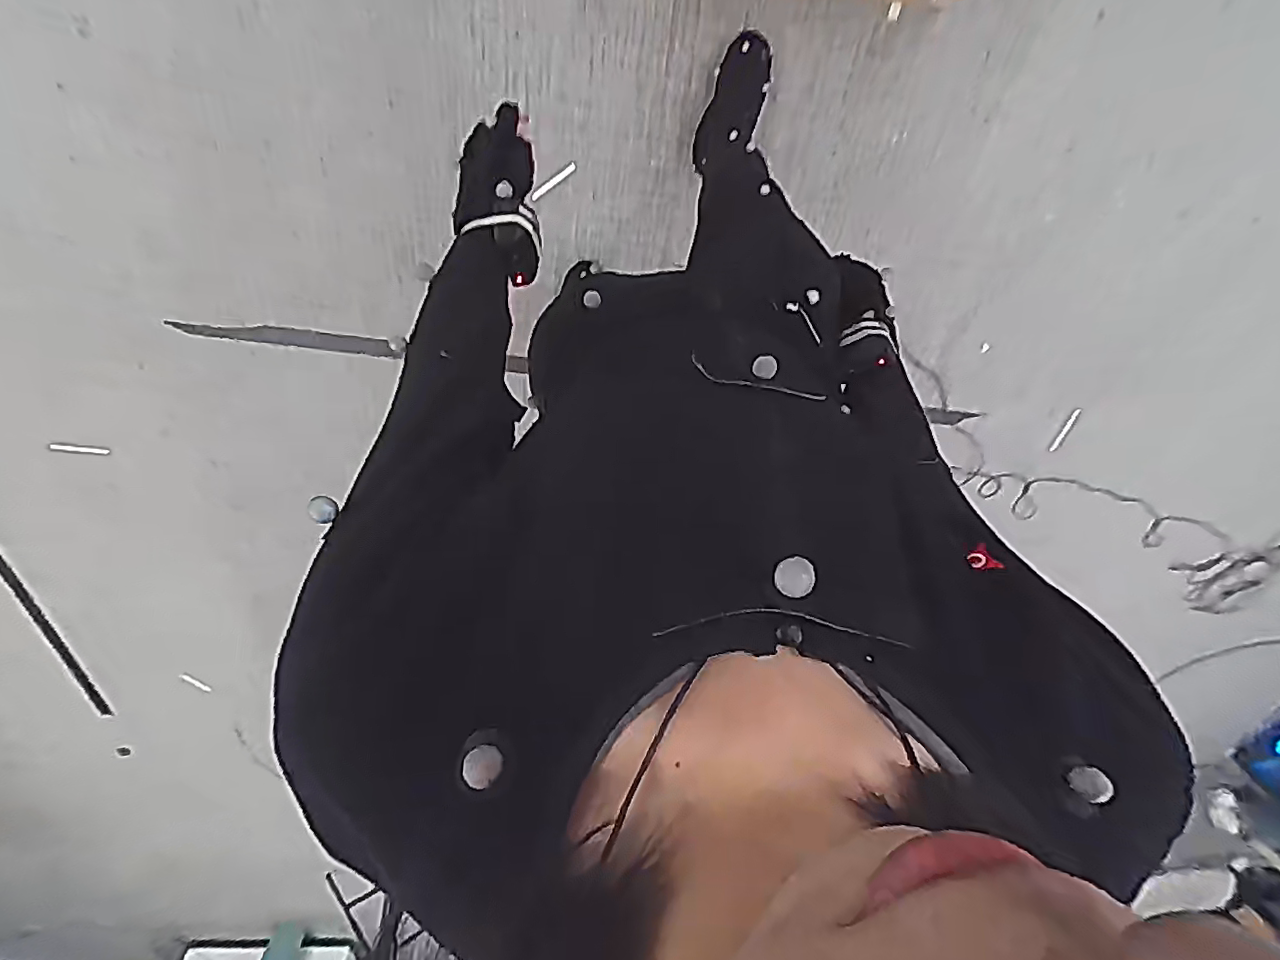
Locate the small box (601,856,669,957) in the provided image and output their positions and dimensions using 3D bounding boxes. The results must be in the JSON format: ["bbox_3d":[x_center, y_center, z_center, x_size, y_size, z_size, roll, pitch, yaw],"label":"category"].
[{"bbox_3d":[-0.017,1.131,1.437,0.168,0.176,0.179,2,123,-4],"label":"small box"}]
